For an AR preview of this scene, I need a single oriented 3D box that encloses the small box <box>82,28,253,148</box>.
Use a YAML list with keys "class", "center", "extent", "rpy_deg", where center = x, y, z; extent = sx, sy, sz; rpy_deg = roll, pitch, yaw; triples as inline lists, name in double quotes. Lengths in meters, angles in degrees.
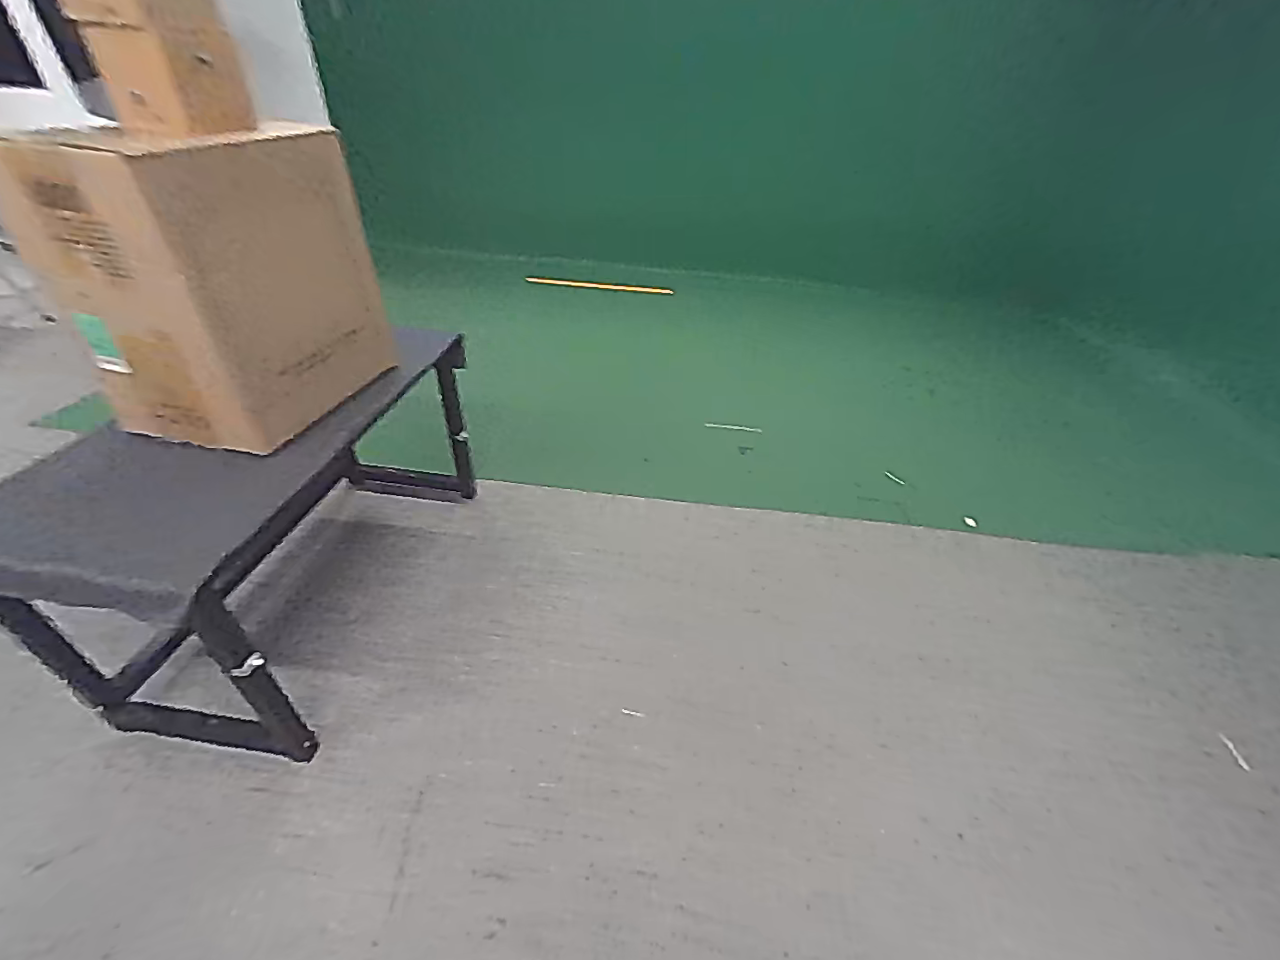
- class: "small box"
  center: [-0.917, -0.777, 1.077]
  extent: [0.168, 0.176, 0.179]
  rpy_deg: [13, 39, 8]
